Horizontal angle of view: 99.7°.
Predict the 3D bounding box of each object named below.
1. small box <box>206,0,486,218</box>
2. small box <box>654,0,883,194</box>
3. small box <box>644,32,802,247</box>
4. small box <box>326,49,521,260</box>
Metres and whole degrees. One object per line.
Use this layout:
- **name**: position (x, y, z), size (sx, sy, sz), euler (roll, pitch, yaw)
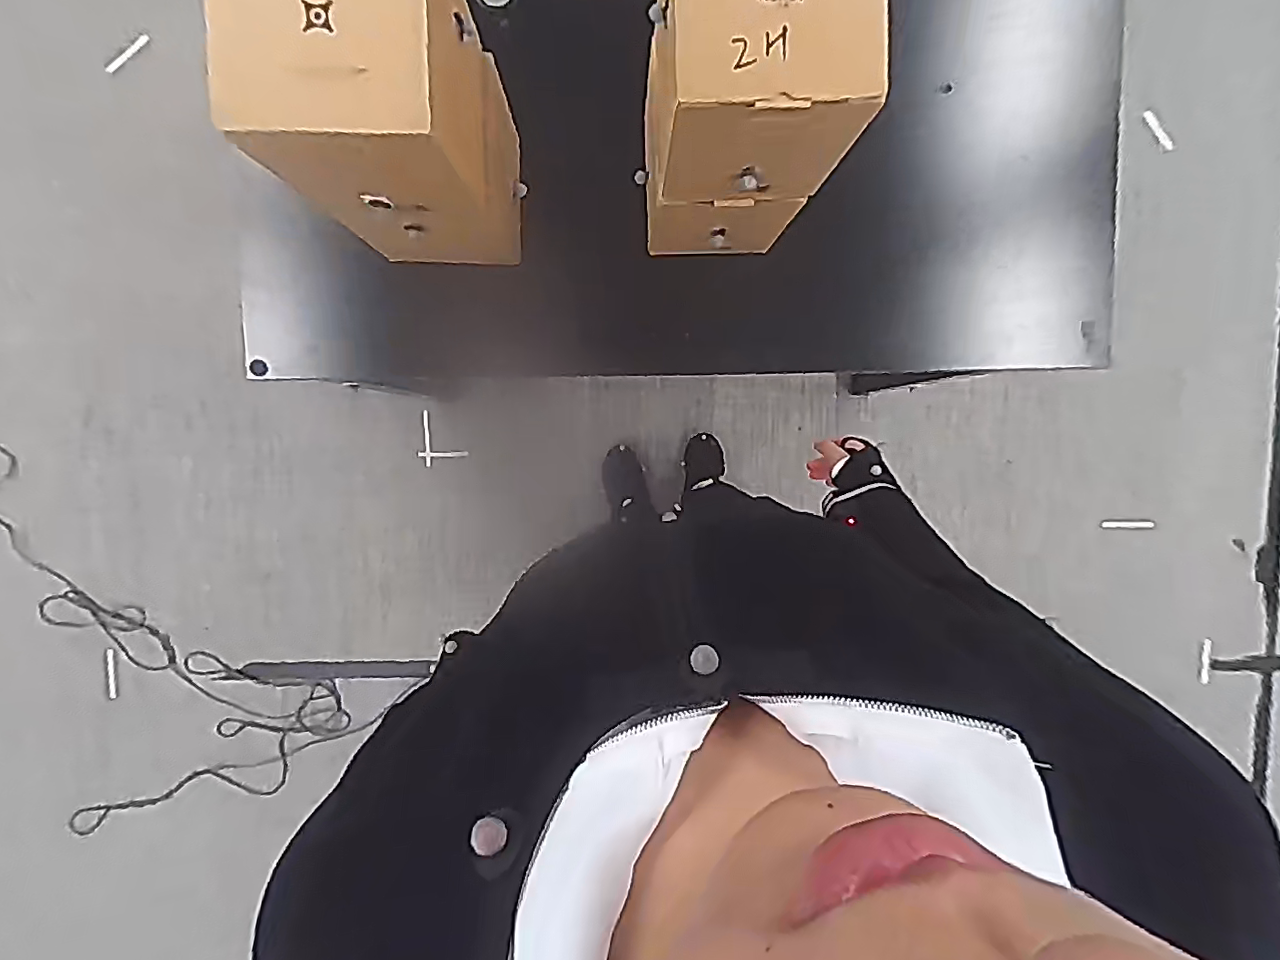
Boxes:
- **small box**: position (-0.241, -0.359, 0.483), size (0.168, 0.176, 0.179), euler (-1, 95, -1)
- **small box**: position (0.101, -0.390, 0.494), size (0.168, 0.176, 0.179), euler (-3, 94, -2)
- **small box**: position (0.091, -0.396, 0.659), size (0.168, 0.176, 0.179), euler (-2, 94, -2)
- **small box**: position (-0.245, -0.373, 0.644), size (0.179, 0.176, 0.168), euler (0, 94, -3)
